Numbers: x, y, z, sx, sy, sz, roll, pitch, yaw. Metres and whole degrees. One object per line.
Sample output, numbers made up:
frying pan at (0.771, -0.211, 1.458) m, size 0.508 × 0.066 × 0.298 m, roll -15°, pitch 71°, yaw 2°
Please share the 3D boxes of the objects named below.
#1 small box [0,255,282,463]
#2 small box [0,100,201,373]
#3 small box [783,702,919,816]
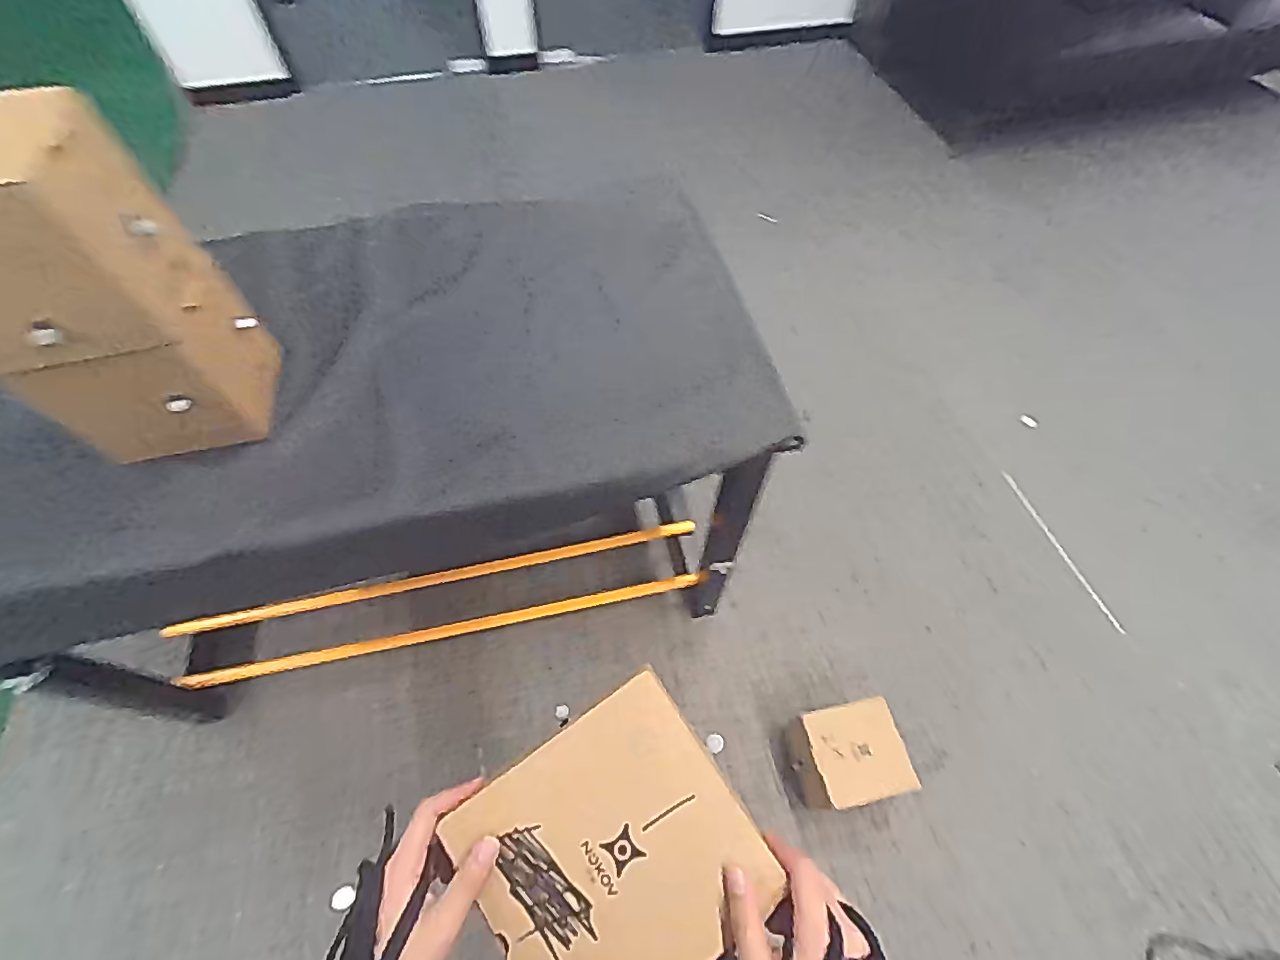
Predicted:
small box at (-0.575, -0.142, 0.659) m, size 0.179 × 0.176 × 0.168 m, roll -12°, pitch 57°, yaw -8°
small box at (-0.571, -0.228, 0.518) m, size 0.179 × 0.176 × 0.168 m, roll -14°, pitch 57°, yaw -10°
small box at (0.410, 0.562, 1.086) m, size 0.179 × 0.176 × 0.168 m, roll -10°, pitch 58°, yaw -7°
